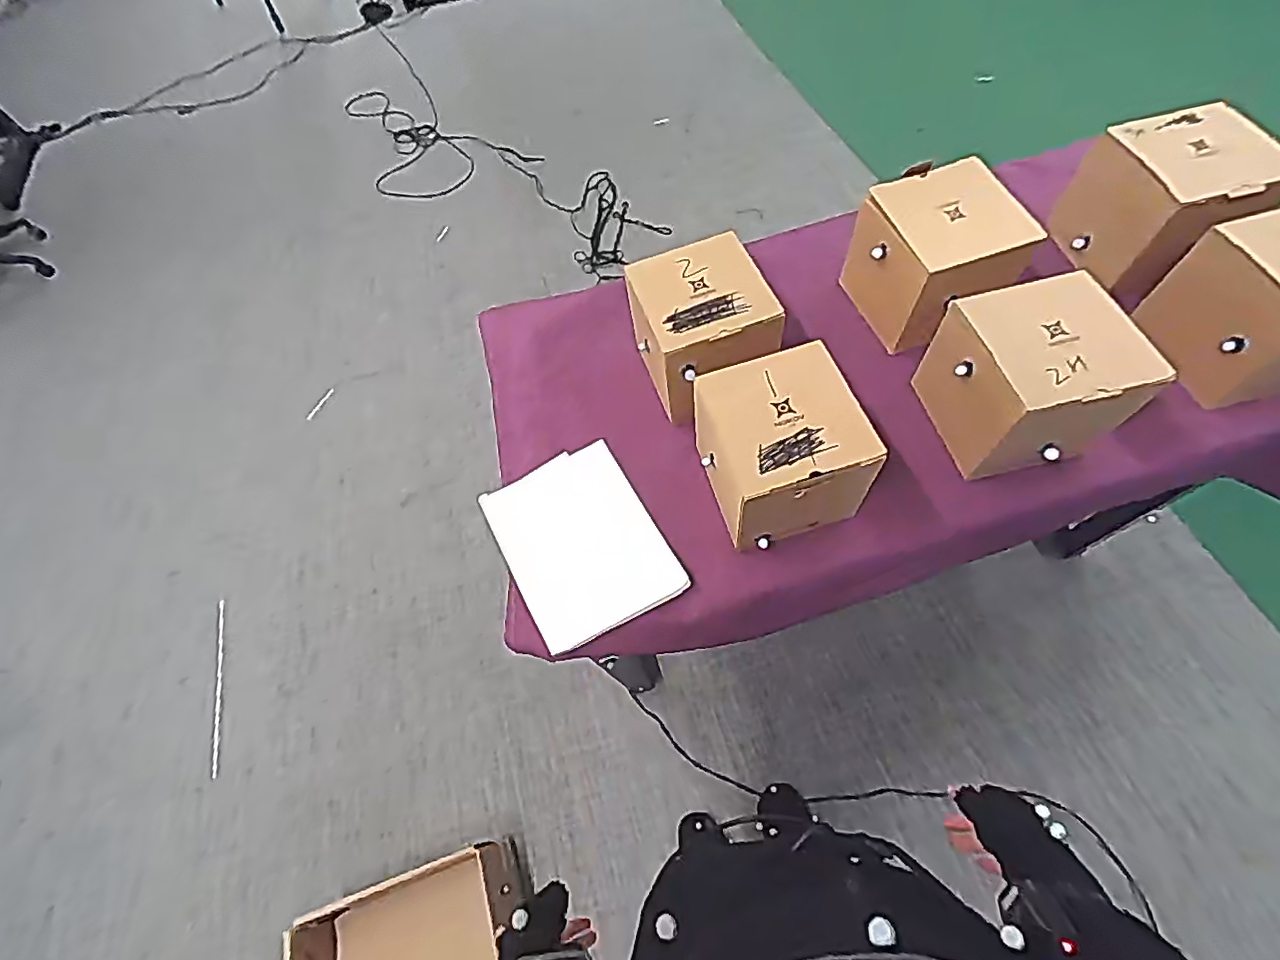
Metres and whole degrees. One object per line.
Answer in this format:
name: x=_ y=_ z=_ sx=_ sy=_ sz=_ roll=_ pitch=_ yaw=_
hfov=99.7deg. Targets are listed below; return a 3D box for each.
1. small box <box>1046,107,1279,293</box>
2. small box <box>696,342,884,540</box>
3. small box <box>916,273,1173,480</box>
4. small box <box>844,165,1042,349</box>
small box: x=0.760 y=-0.399 z=0.796 sx=0.168 sy=0.176 sz=0.179 roll=-11 pitch=63 yaw=1
small box: x=0.176 y=-0.037 z=0.686 sx=0.168 sy=0.176 sz=0.179 roll=-16 pitch=62 yaw=0
small box: x=0.487 y=-0.126 z=0.691 sx=0.168 sy=0.176 sz=0.179 roll=-13 pitch=62 yaw=1
small box: x=0.429 y=-0.317 z=0.801 sx=0.168 sy=0.176 sz=0.179 roll=-18 pitch=62 yaw=-2
